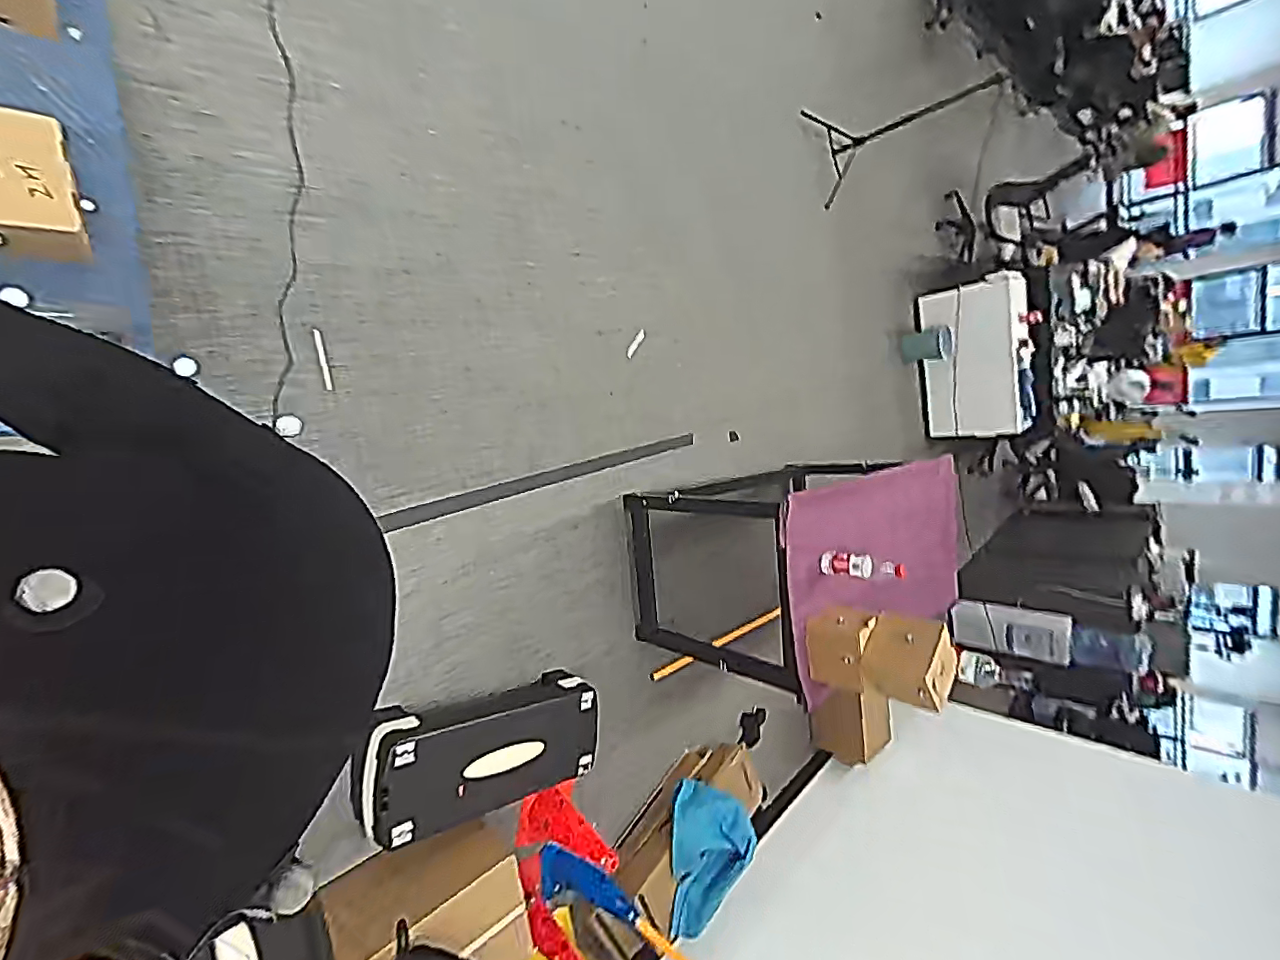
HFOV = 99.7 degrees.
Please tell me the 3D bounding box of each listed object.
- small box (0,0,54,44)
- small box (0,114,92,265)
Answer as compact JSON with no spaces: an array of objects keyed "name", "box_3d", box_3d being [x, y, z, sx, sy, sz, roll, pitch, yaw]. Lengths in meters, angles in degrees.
[{"name":"small box","box_3d":[-1.003,-0.810,0.798,0.168,0.176,0.179,-9,97,-42]},{"name":"small box","box_3d":[-0.980,-0.439,0.824,0.179,0.176,0.168,-13,99,-41]}]
